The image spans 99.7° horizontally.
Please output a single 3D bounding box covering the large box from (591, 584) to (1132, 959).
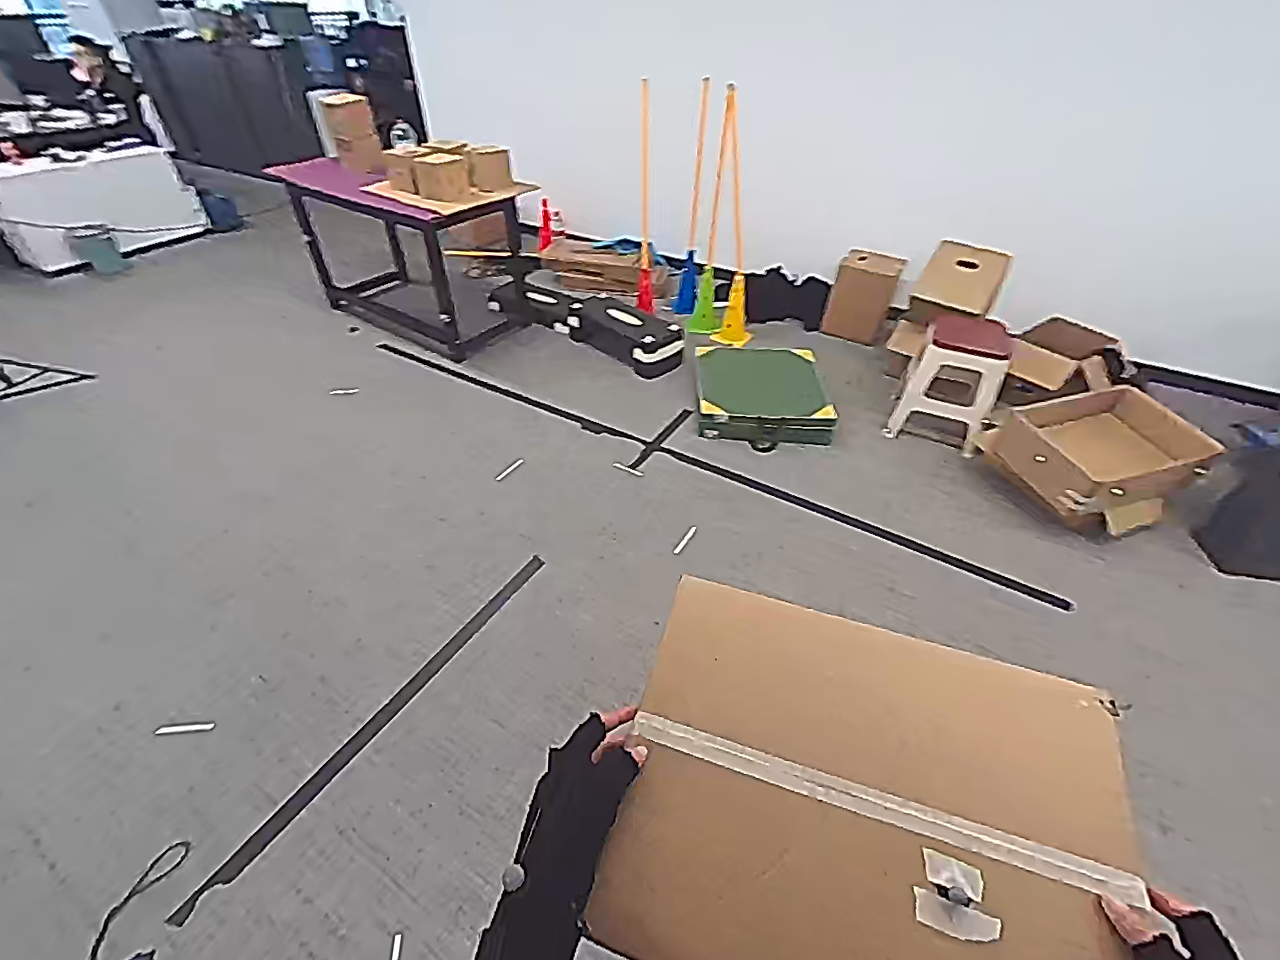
[{"bbox_3d":[0.195,0.360,0.590,0.408,0.320,0.320,13,56,12],"label":"large box"}]
